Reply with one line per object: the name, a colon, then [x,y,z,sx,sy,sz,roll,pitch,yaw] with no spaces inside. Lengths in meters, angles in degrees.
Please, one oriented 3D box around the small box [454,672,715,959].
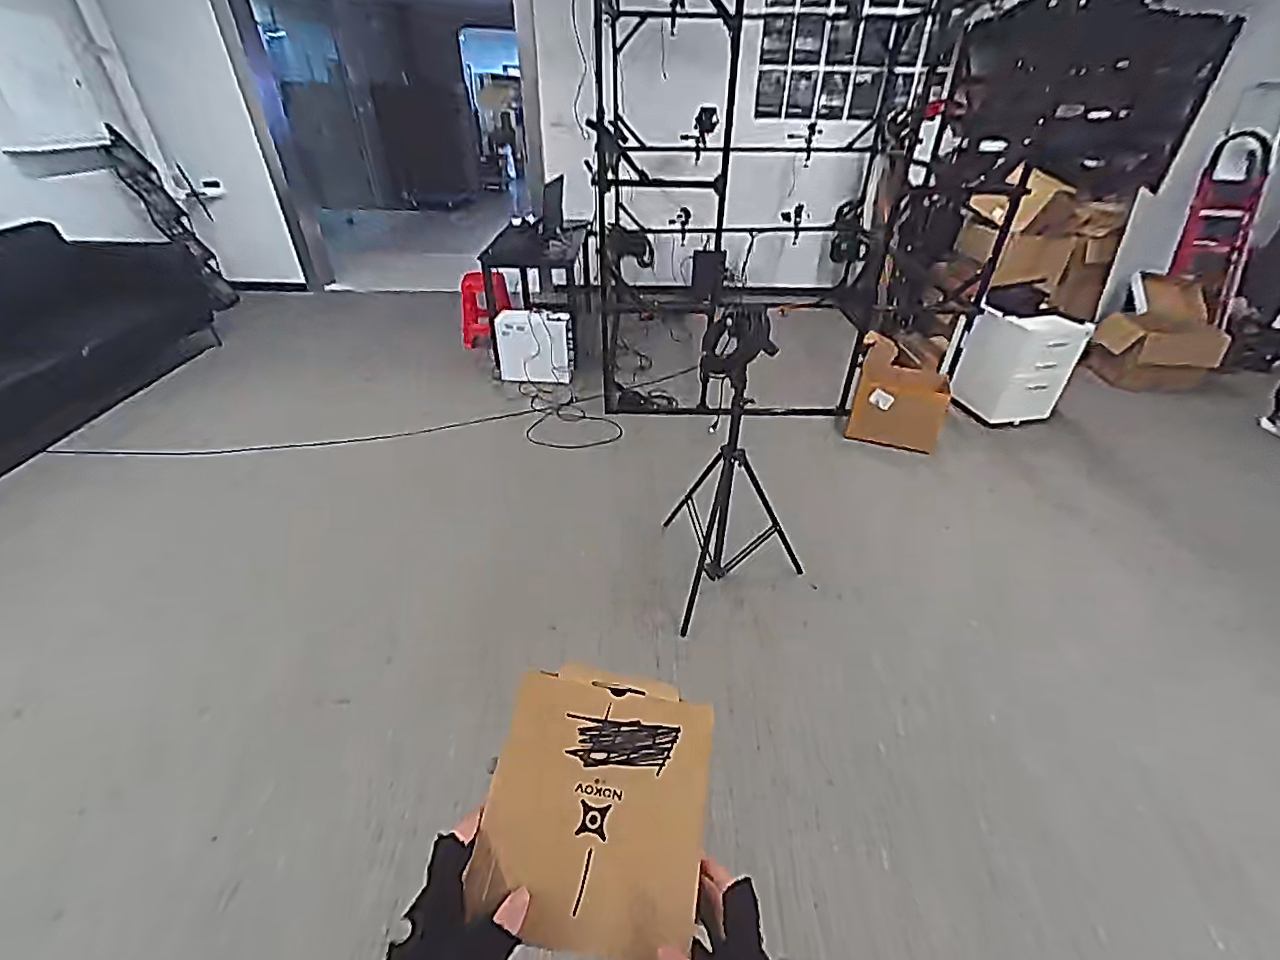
small box: [-0.040,0.286,0.471,0.168,0.176,0.179,11,61,0]
